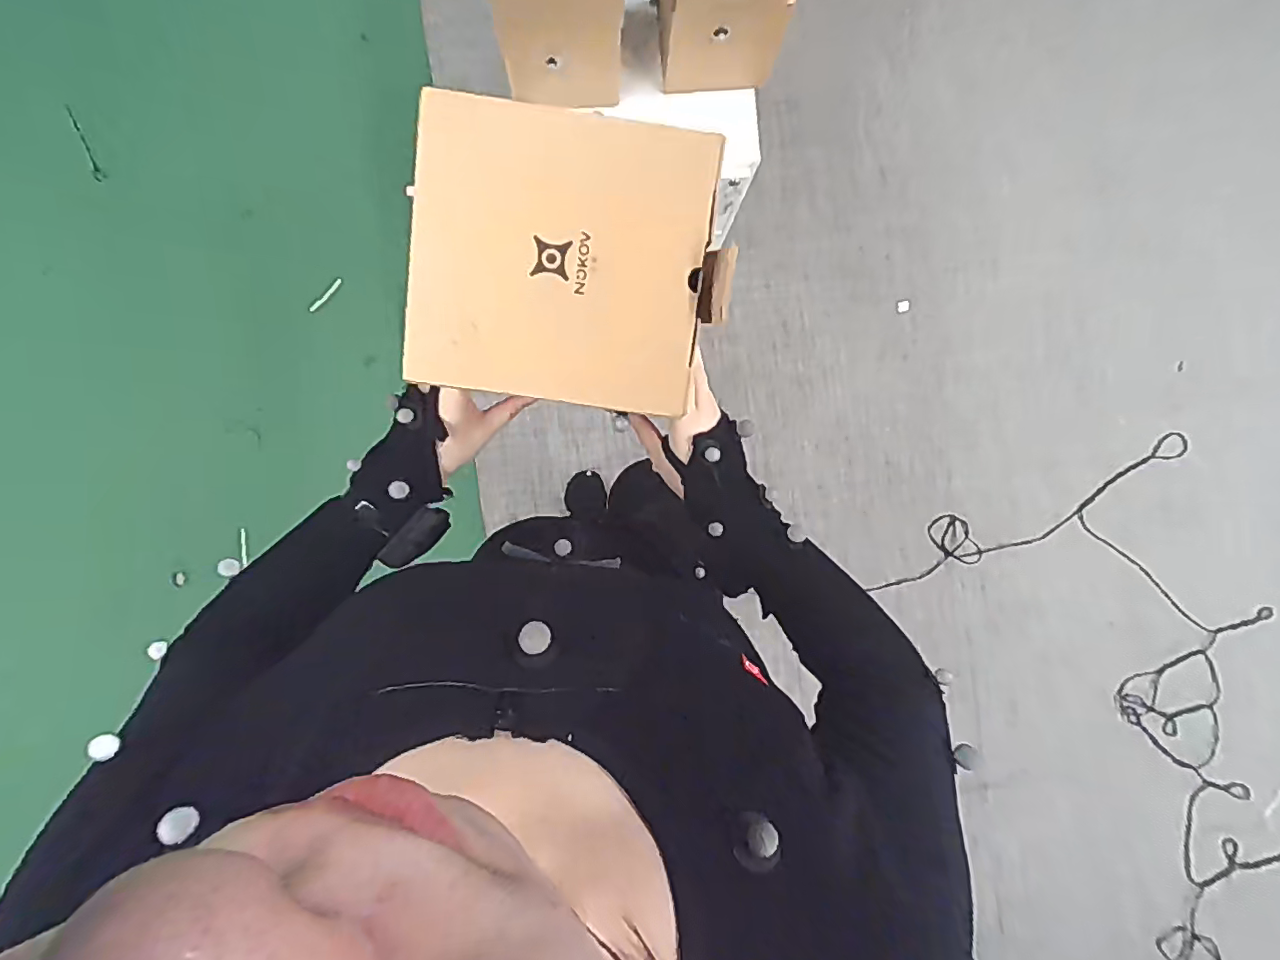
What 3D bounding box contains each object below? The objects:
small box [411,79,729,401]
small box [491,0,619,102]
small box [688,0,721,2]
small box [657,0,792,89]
[{"bbox_3d":[-0.046,-0.151,0.402,0.179,0.176,0.168,7,98,-3],"label":"small box"},{"bbox_3d":[-0.125,-0.704,0.821,0.179,0.176,0.168,-5,92,-4],"label":"small box"},{"bbox_3d":[0.120,-0.741,0.668,0.168,0.176,0.179,-7,91,-2],"label":"small box"},{"bbox_3d":[0.120,-0.741,0.833,0.179,0.176,0.168,-5,91,-3],"label":"small box"}]
